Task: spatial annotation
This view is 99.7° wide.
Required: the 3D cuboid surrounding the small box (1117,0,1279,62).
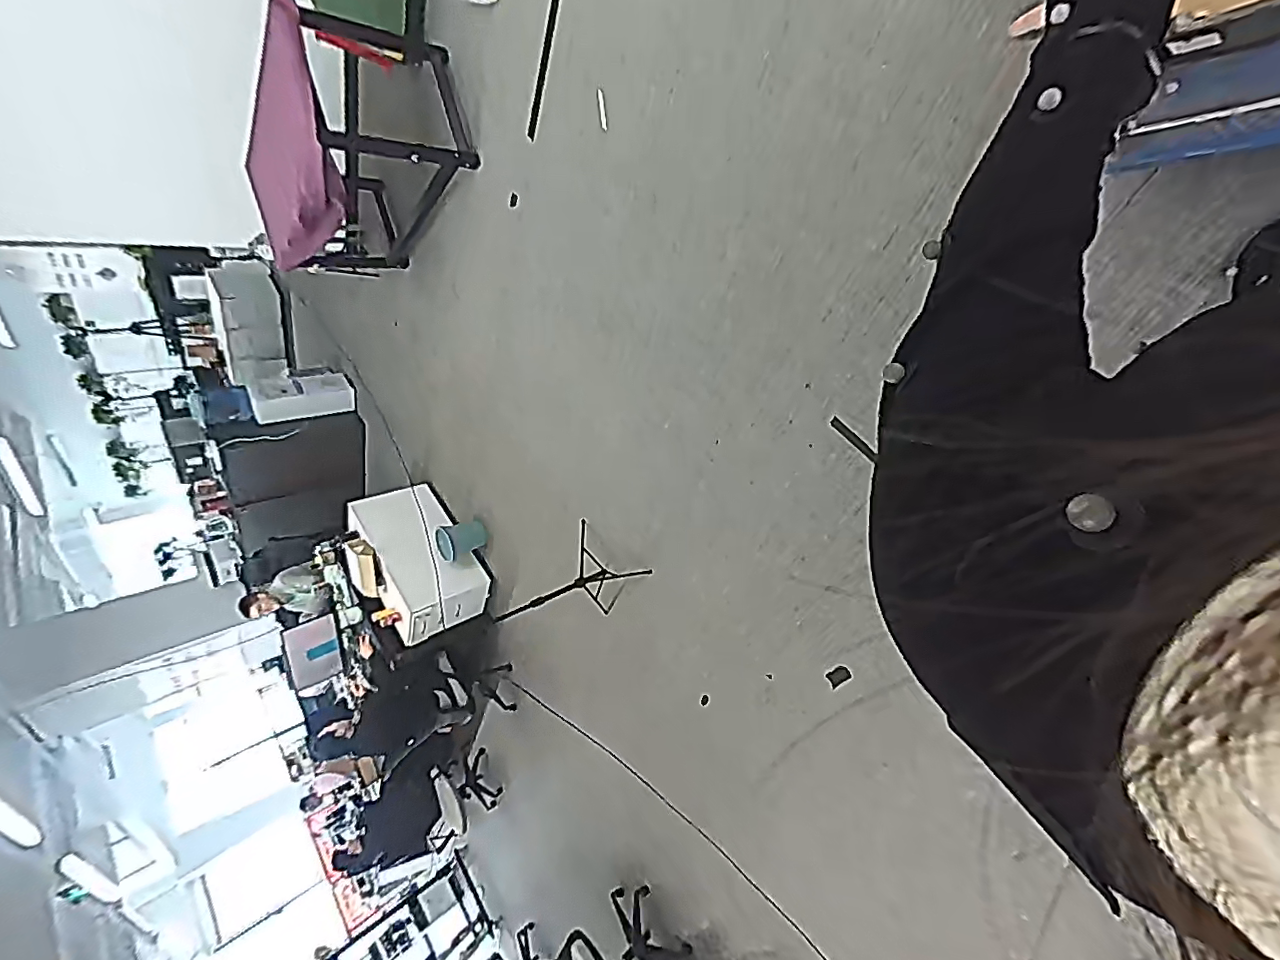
[{"bbox_3d":[0.803,-0.728,0.762,0.168,0.176,0.179,10,112,45],"label":"small box"}]
